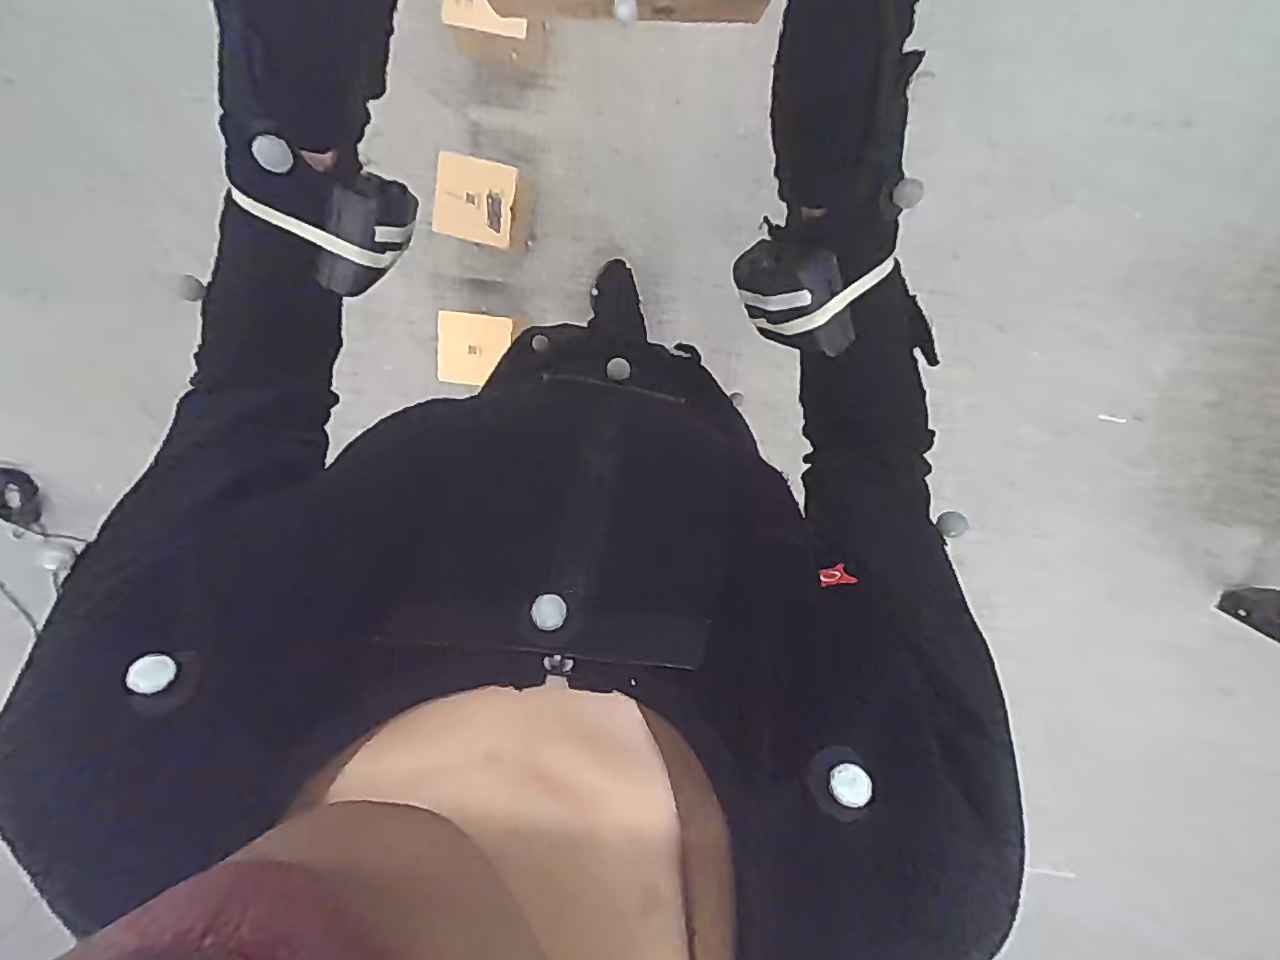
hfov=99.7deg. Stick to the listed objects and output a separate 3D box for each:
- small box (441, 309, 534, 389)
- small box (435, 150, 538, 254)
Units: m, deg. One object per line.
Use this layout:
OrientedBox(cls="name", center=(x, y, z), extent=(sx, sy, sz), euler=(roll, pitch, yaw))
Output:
OrientedBox(cls="small box", center=(-0.372, -0.327, 1.335), extent=(0.179, 0.176, 0.168), euler=(7, 108, 1))
OrientedBox(cls="small box", center=(-0.344, -0.625, 1.240), extent=(0.179, 0.176, 0.168), euler=(13, 107, 1))
